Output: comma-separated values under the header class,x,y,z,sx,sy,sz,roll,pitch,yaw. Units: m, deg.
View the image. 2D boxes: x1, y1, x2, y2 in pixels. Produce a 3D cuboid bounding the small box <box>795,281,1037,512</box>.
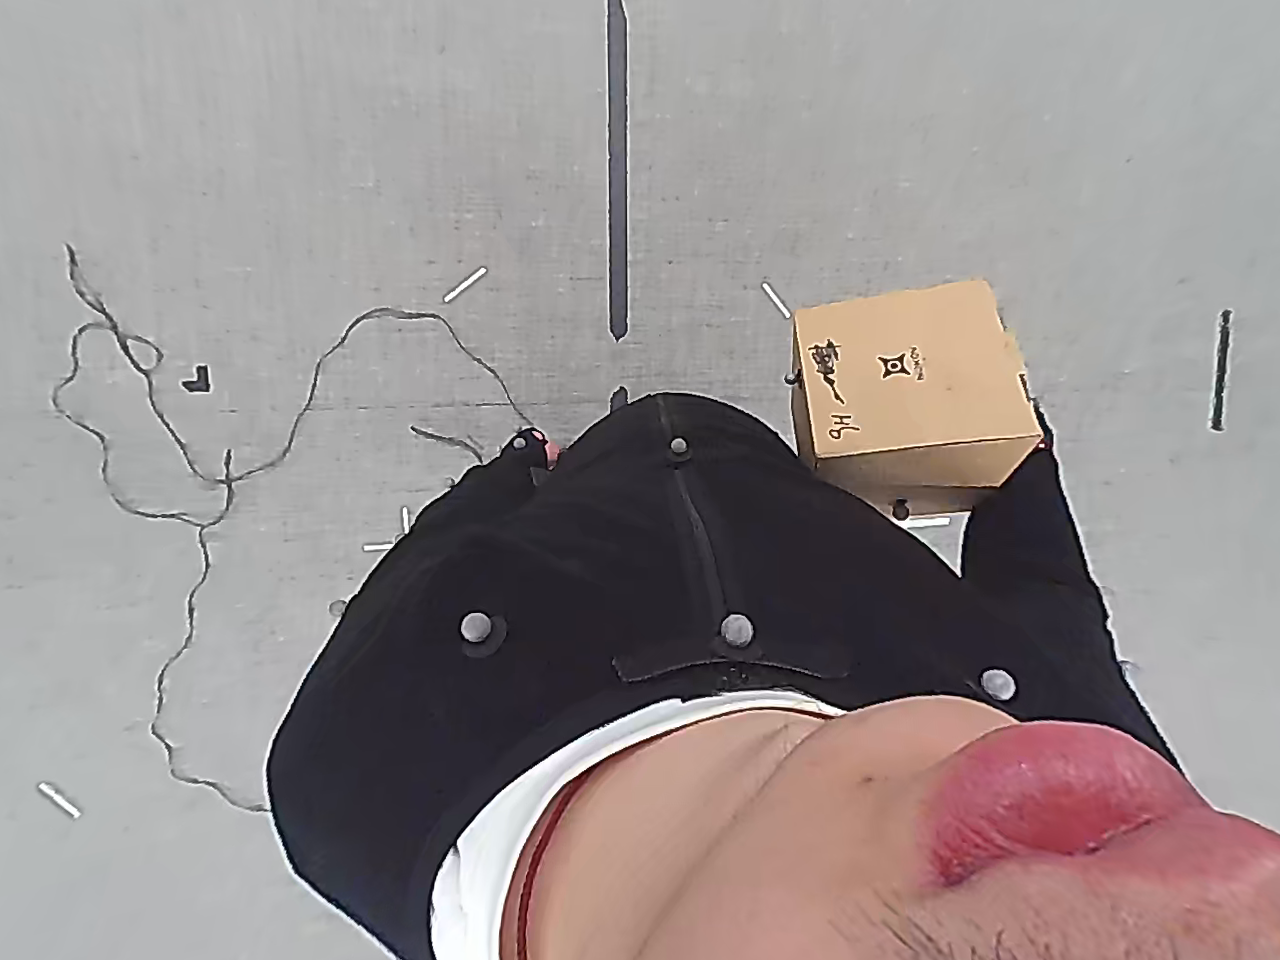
class,x,y,z,sx,sy,sz,roll,pitch,yaw
small box,0.262,-0.074,0.564,0.179,0.176,0.168,-5,64,12
